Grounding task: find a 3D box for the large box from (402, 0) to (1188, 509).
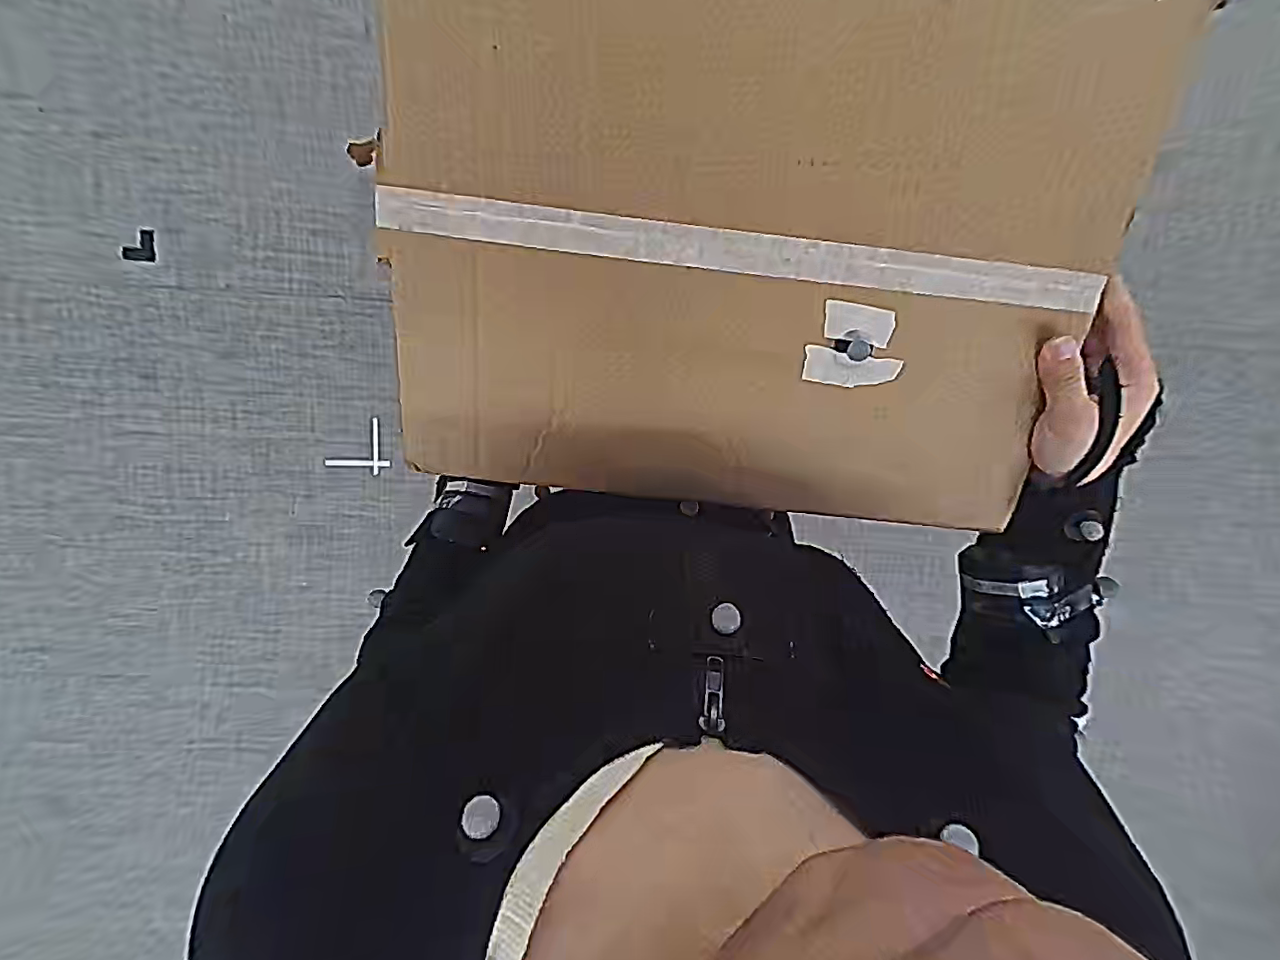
[{"bbox_3d":[0.064,-0.189,0.451,0.408,0.320,0.320,5,113,-4],"label":"large box"}]
